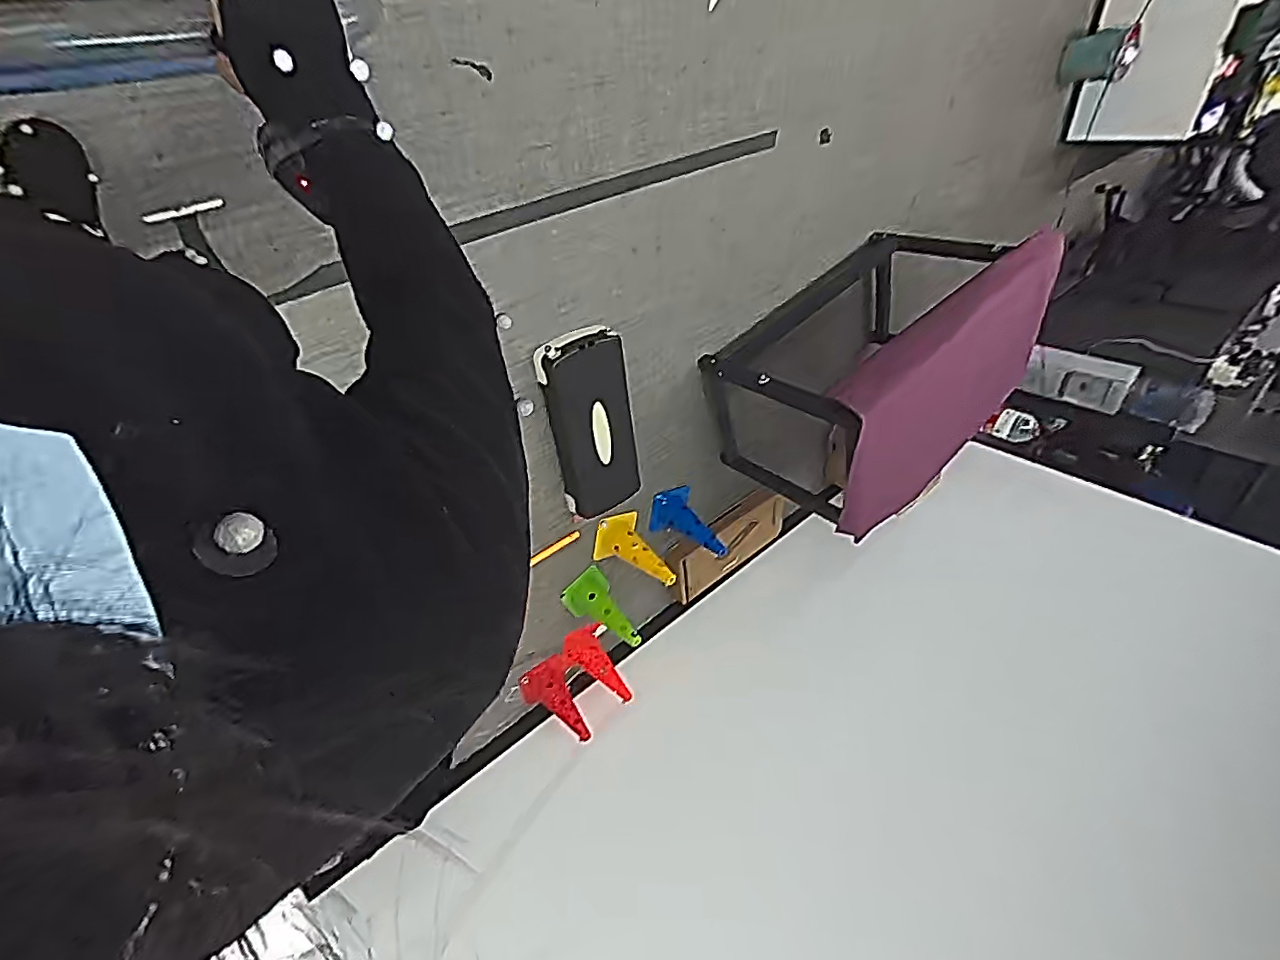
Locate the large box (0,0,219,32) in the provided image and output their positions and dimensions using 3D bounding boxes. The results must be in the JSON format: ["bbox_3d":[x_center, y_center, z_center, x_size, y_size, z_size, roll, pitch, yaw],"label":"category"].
[{"bbox_3d":[-0.757,-0.707,0.583,0.408,0.320,0.320,-30,133,-27],"label":"large box"}]
